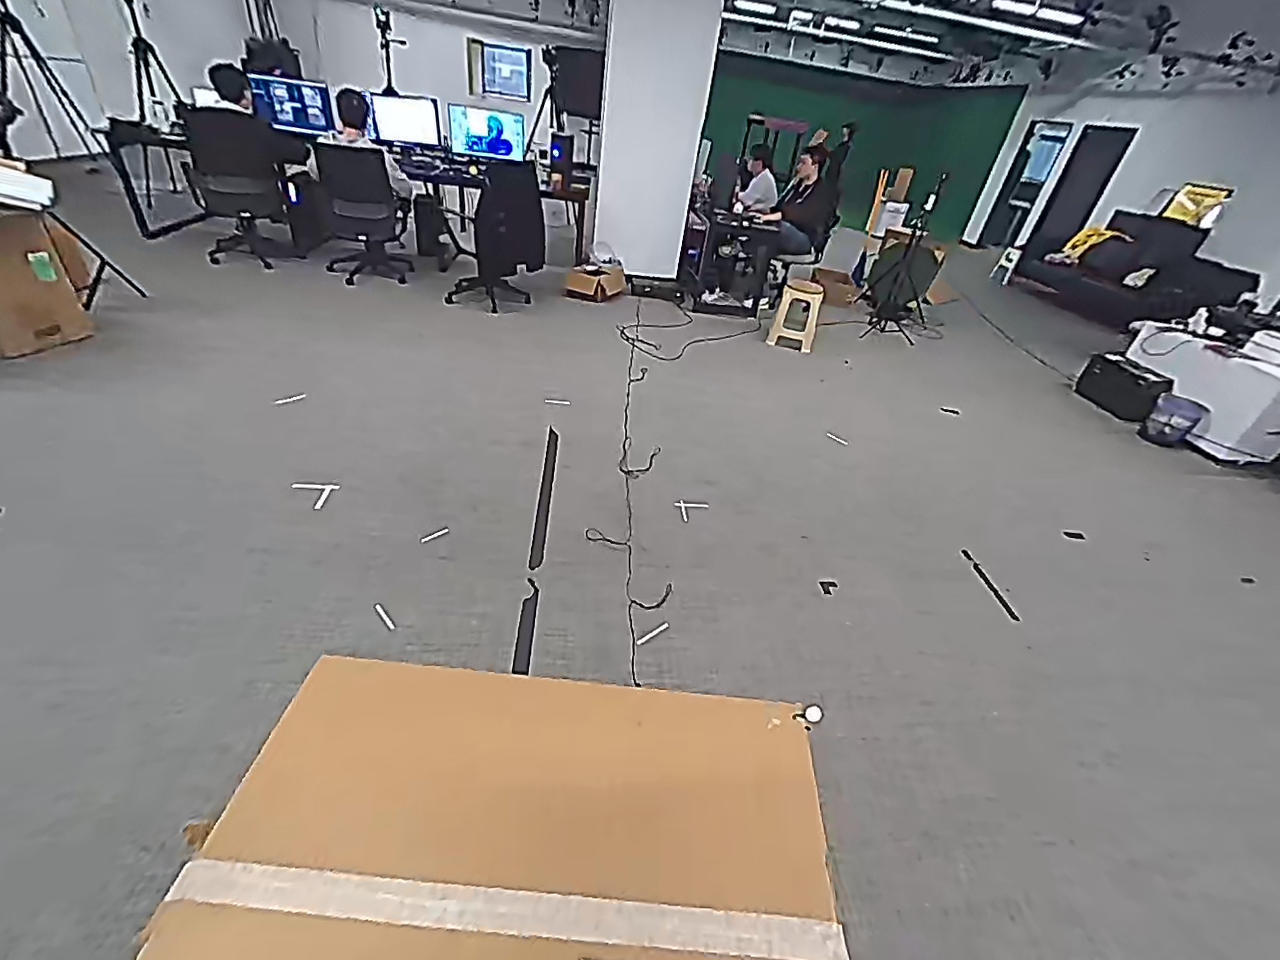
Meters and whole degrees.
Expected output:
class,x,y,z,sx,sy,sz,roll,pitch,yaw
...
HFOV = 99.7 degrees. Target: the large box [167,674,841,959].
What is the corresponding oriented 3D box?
class,x,y,z,sx,sy,sz,roll,pitch,yaw
large box,-0.085,0.390,0.429,0.408,0.320,0.320,6,40,0
